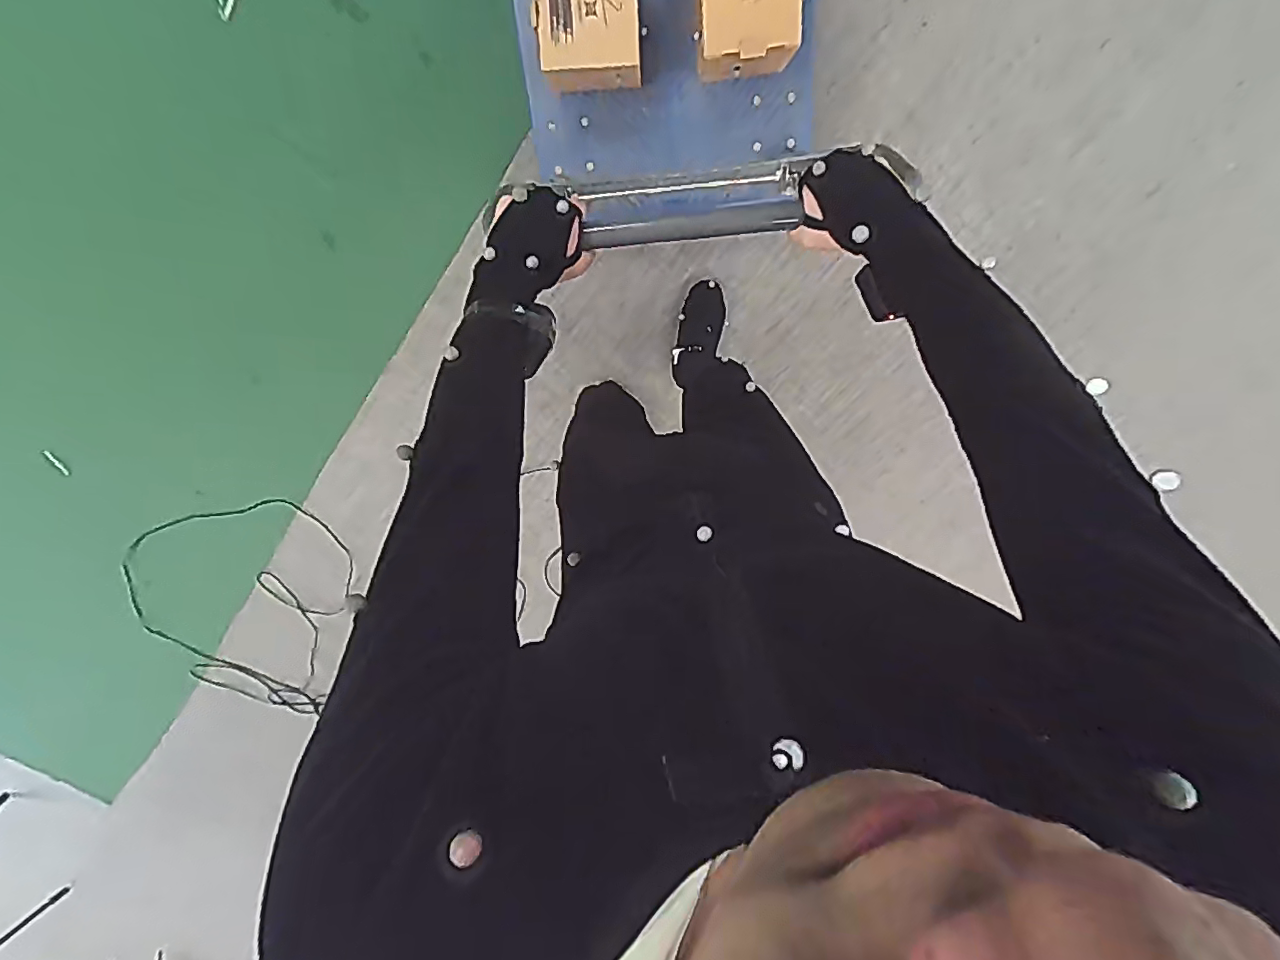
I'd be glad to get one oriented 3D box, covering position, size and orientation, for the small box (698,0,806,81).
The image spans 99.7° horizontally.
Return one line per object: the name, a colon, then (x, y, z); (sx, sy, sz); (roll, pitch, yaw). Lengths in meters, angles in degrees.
small box: (0.192, -0.839, 0.957); (0.168, 0.176, 0.179); (-5, 116, 4)
